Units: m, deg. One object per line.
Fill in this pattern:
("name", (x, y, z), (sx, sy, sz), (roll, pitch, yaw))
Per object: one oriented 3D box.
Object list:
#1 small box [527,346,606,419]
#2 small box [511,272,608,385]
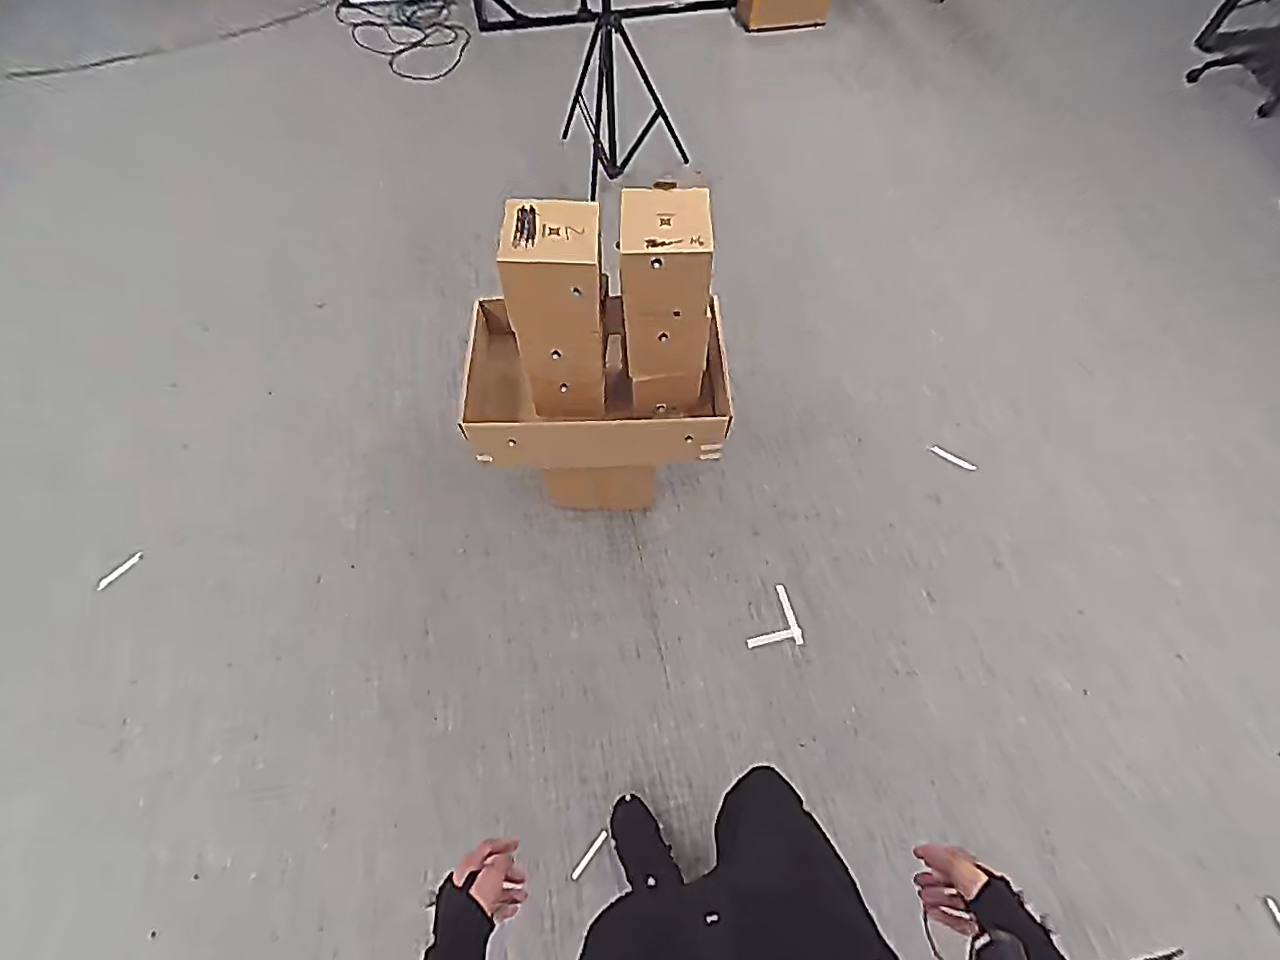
("small box", (-0.172, -0.261, 1.325), (0.179, 0.176, 0.168), (0, 62, -2))
("small box", (-0.165, -0.324, 1.173), (0.179, 0.176, 0.168), (4, 62, 1))
